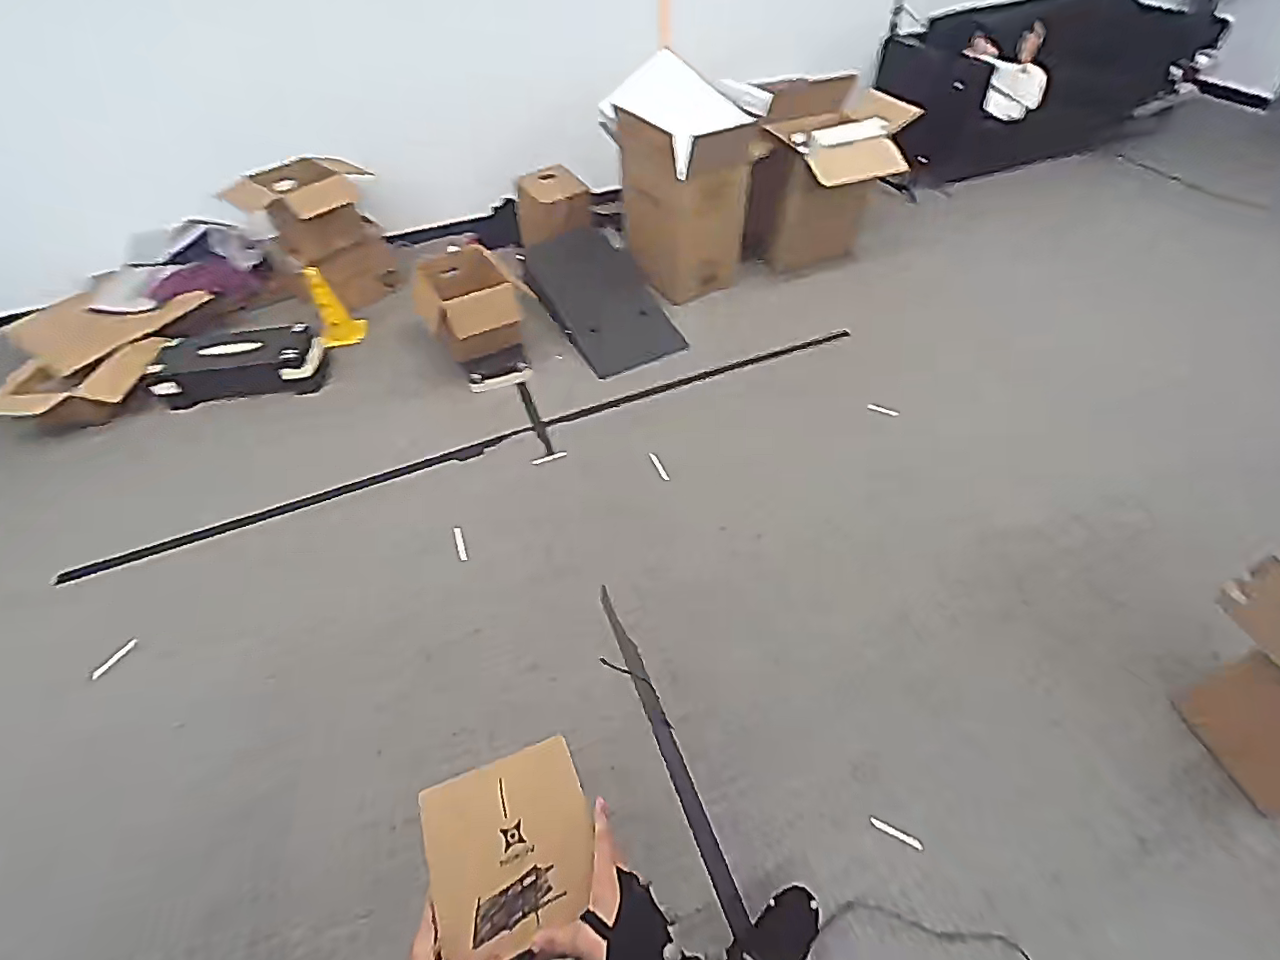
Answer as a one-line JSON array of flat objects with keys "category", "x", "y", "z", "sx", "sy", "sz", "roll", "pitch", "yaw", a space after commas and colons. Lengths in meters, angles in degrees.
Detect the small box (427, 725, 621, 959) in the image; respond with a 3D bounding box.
[{"category": "small box", "x": -0.129, "y": 0.418, "z": 0.611, "sx": 0.168, "sy": 0.176, "sz": 0.179, "roll": -14, "pitch": 48, "yaw": -20}]
